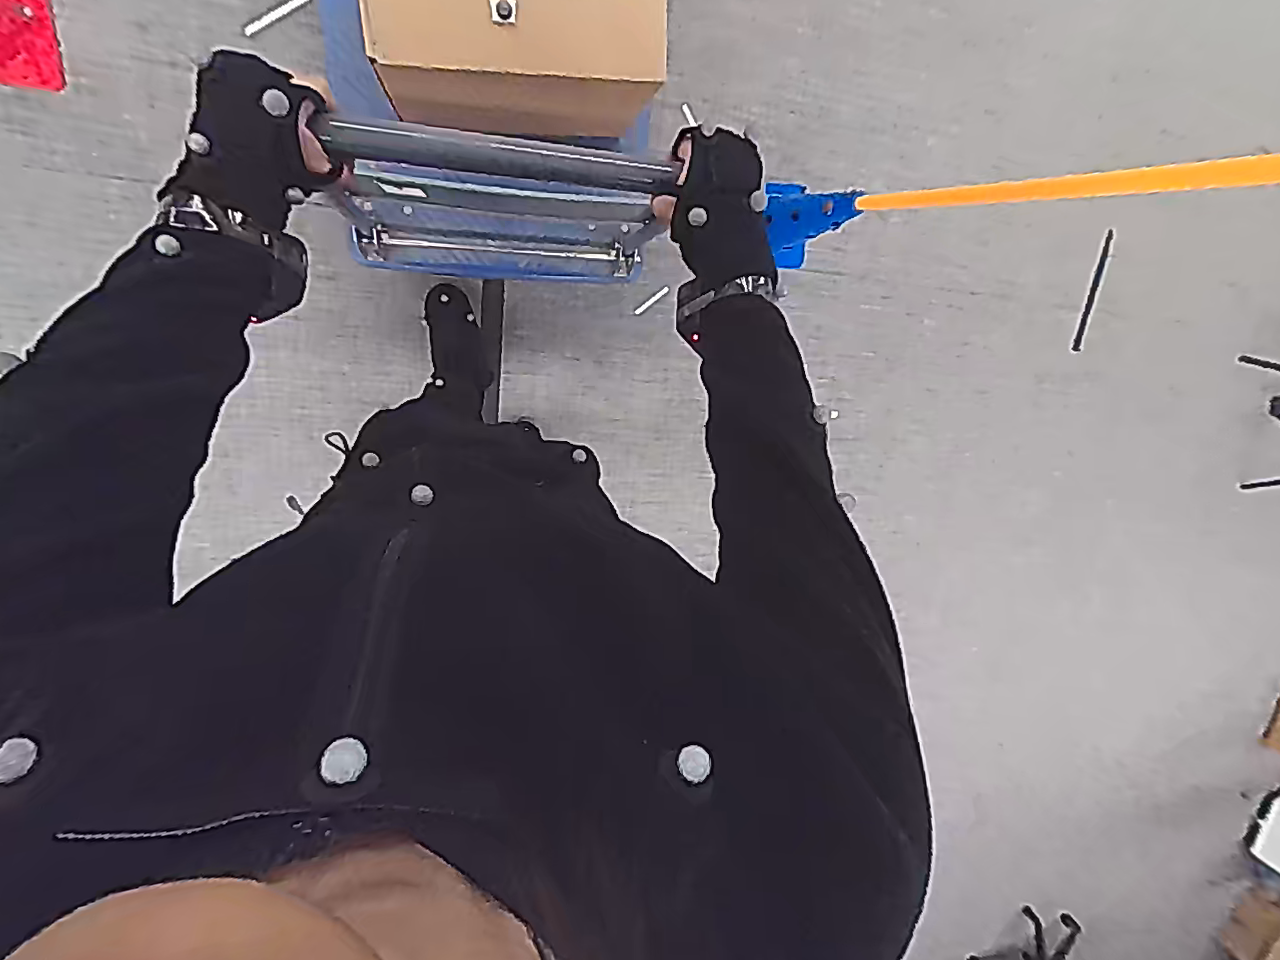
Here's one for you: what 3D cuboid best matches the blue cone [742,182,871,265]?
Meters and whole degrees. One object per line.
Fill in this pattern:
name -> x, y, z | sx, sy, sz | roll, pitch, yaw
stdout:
blue cone -> 0.393, -0.610, 1.240 | 0.193, 0.380, 0.192 | -3, 107, -15
